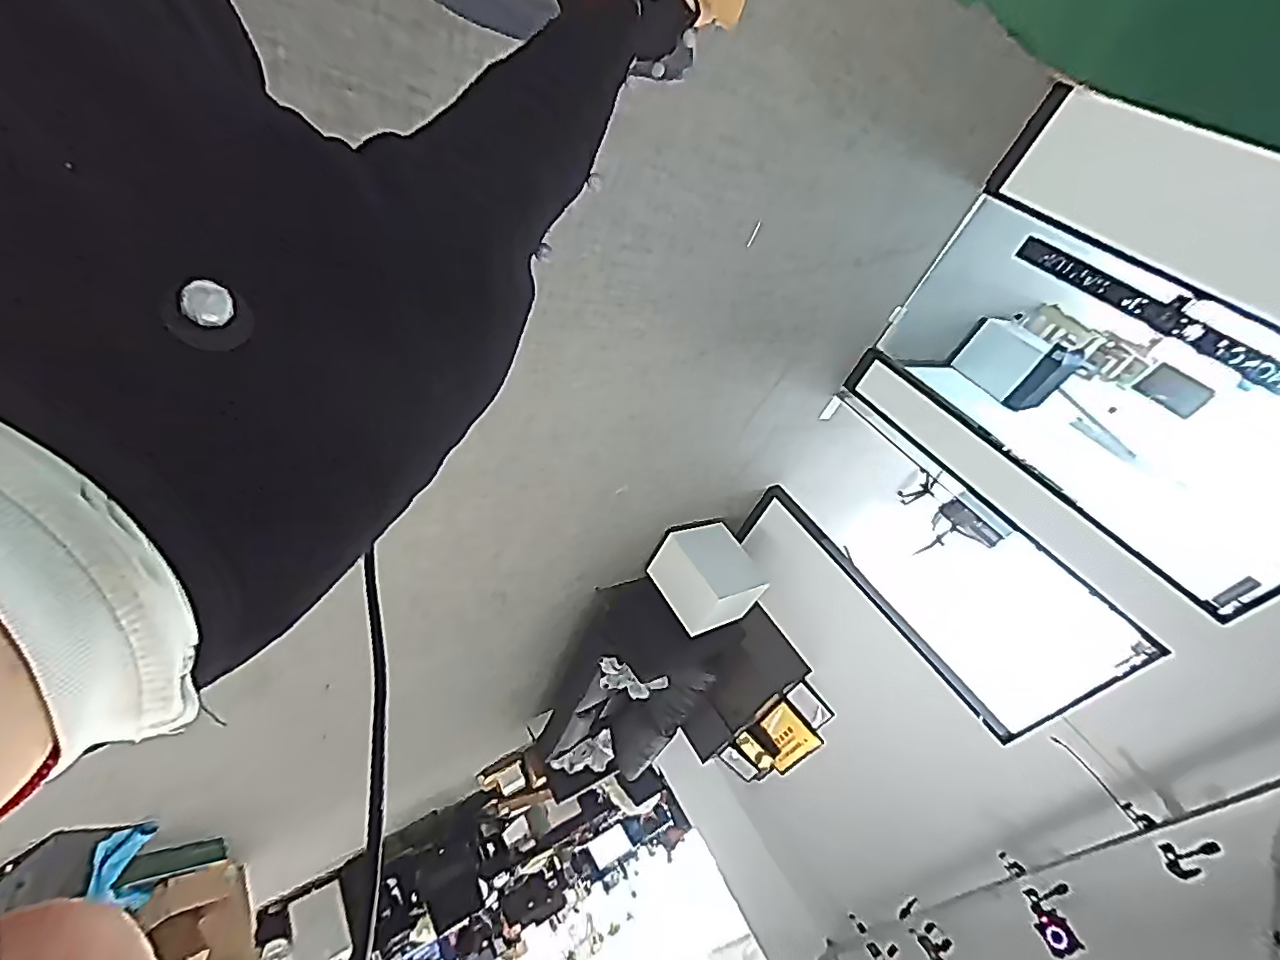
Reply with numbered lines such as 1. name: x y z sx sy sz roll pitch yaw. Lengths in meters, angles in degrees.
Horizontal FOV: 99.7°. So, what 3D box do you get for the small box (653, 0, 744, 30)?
1. small box: 0.030 -0.634 0.579 0.168 0.176 0.179 -12 139 -37
